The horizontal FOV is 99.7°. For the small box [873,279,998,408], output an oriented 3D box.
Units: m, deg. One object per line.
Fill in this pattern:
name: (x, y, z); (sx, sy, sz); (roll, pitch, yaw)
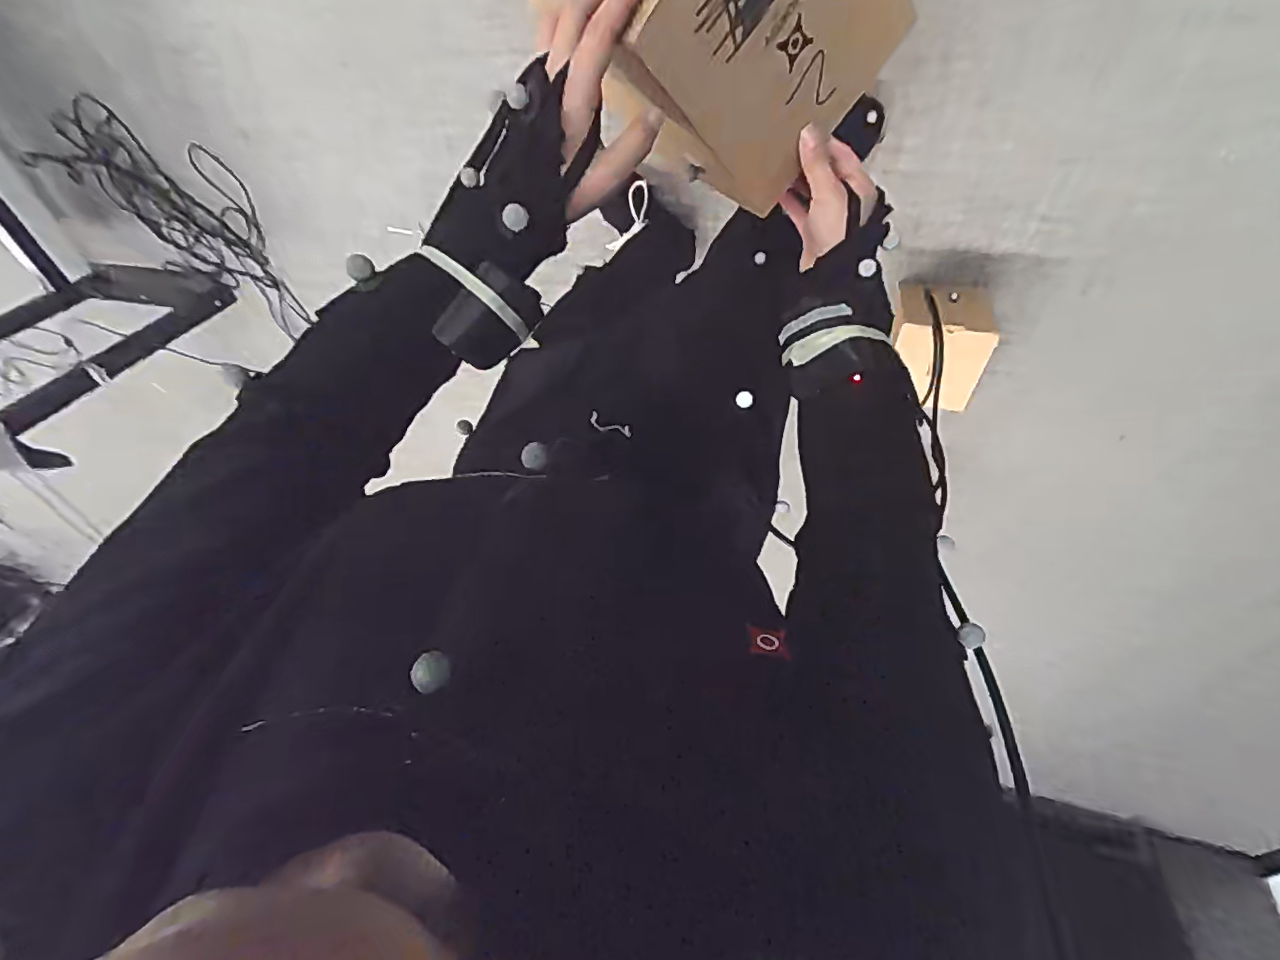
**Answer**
small box: (0.574, -0.273, 1.074); (0.168, 0.176, 0.179); (10, 136, 12)
